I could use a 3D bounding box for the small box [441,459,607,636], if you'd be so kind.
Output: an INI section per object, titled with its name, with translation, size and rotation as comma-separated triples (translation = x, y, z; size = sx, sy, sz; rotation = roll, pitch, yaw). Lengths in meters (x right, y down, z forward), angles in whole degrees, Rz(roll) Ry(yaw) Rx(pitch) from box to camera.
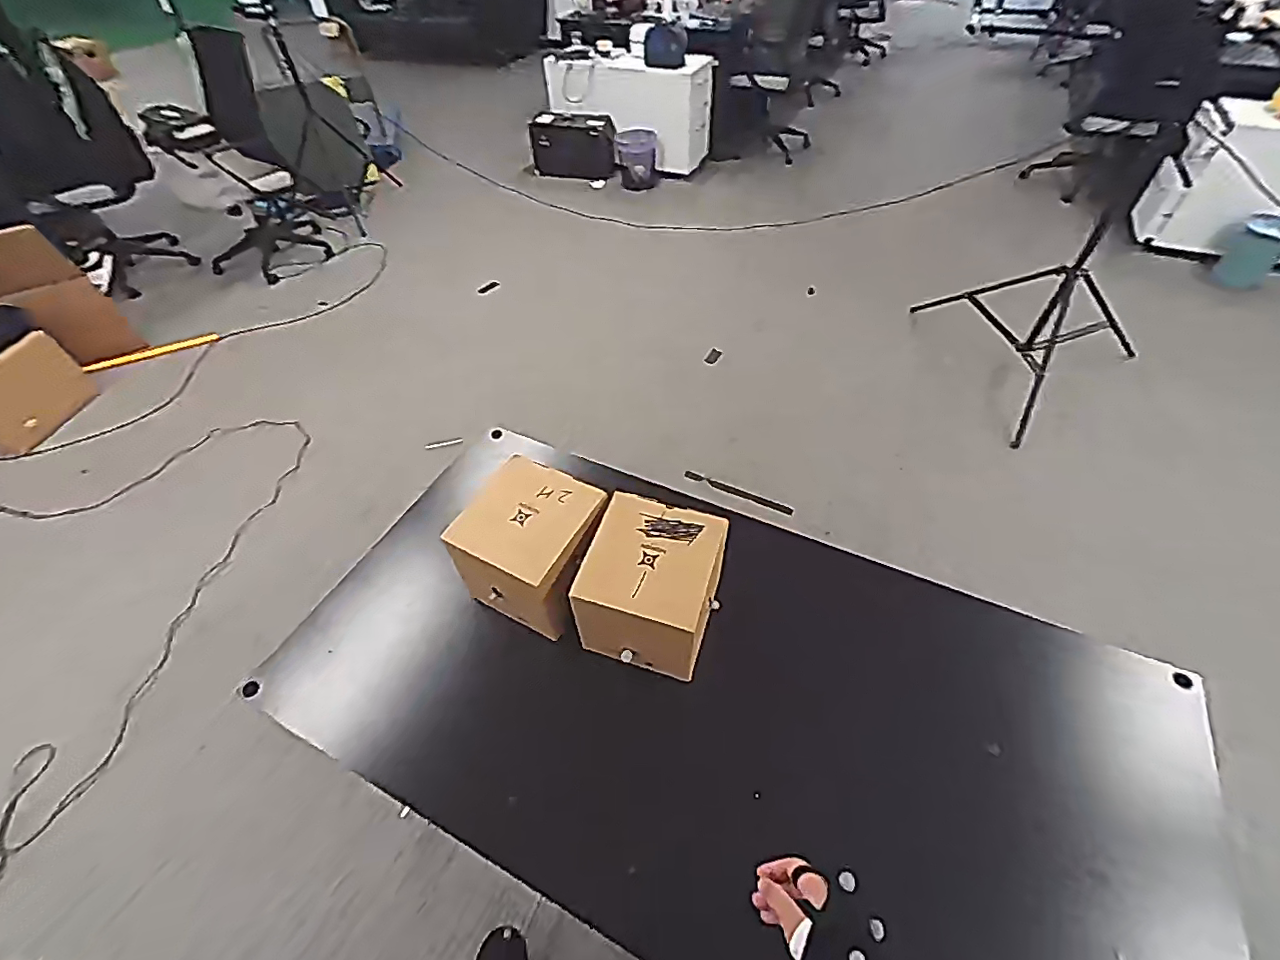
[small box]
translation = -0.160, 0.105, 0.818
size = 0.168, 0.176, 0.179
rotation = 21, 53, 19
